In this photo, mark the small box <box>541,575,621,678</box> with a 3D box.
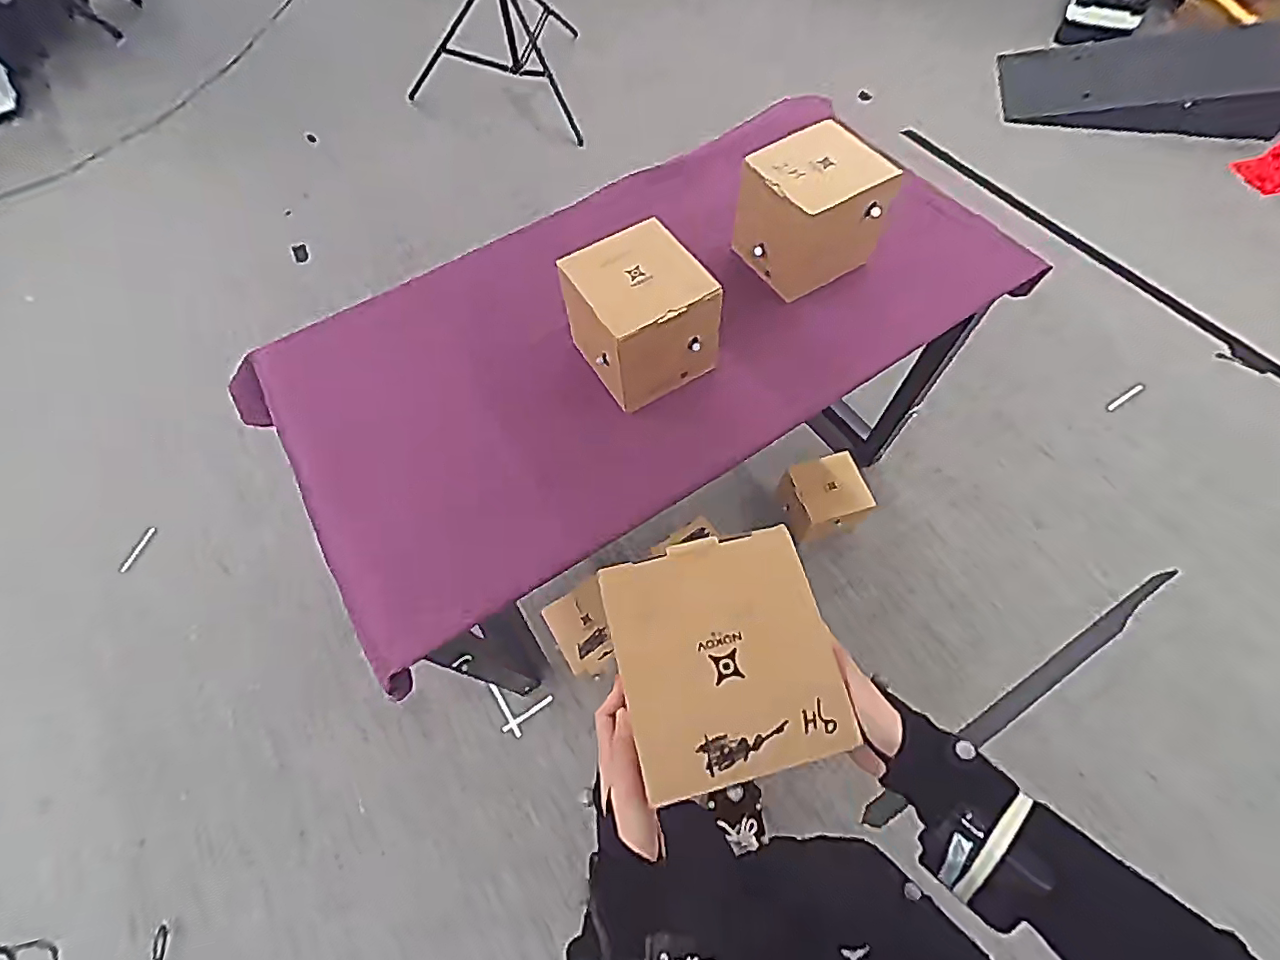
[{"bbox_3d":[-0.116,0.366,1.324,0.168,0.176,0.179,-30,65,-12],"label":"small box"}]

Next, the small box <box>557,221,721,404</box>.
[{"bbox_3d":[0.001,-0.237,0.803,0.168,0.176,0.179,-30,64,-13],"label":"small box"}]

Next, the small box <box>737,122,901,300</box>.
[{"bbox_3d":[0.277,-0.434,0.885,0.179,0.176,0.168,-30,65,-11],"label":"small box"}]

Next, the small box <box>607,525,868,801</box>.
[{"bbox_3d":[0.068,0.161,0.491,0.168,0.176,0.179,-13,70,-5],"label":"small box"}]

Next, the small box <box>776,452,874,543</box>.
[{"bbox_3d":[0.486,0.051,1.451,0.179,0.176,0.168,-16,65,-4],"label":"small box"}]
